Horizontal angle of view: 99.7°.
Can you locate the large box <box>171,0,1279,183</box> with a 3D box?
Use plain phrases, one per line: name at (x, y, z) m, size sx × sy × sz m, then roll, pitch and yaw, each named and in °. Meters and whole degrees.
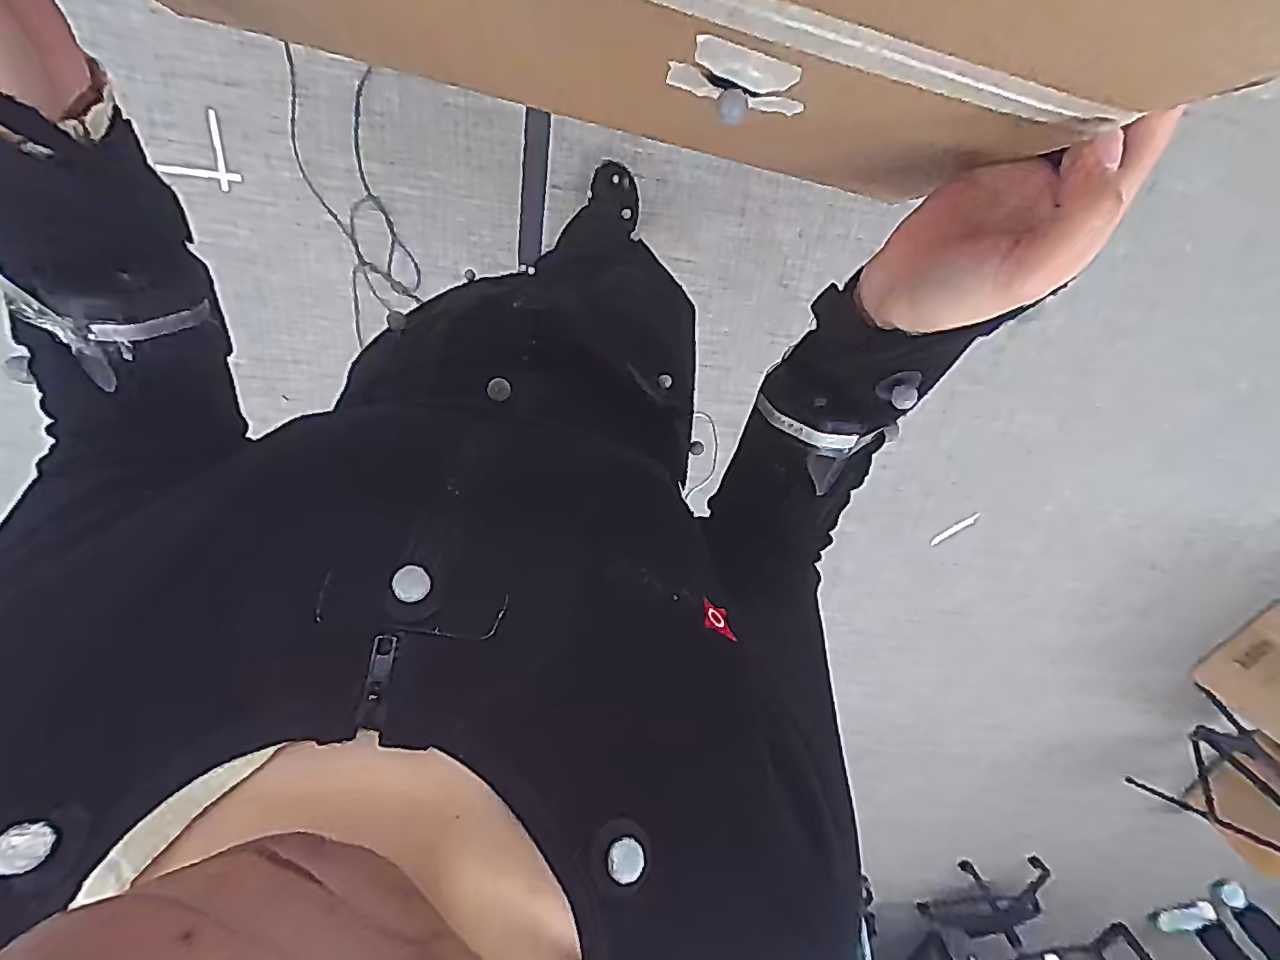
large box at (0.005, -0.312, 0.124) m, size 0.408 × 0.320 × 0.320 m, roll 8°, pitch 107°, yaw -9°
